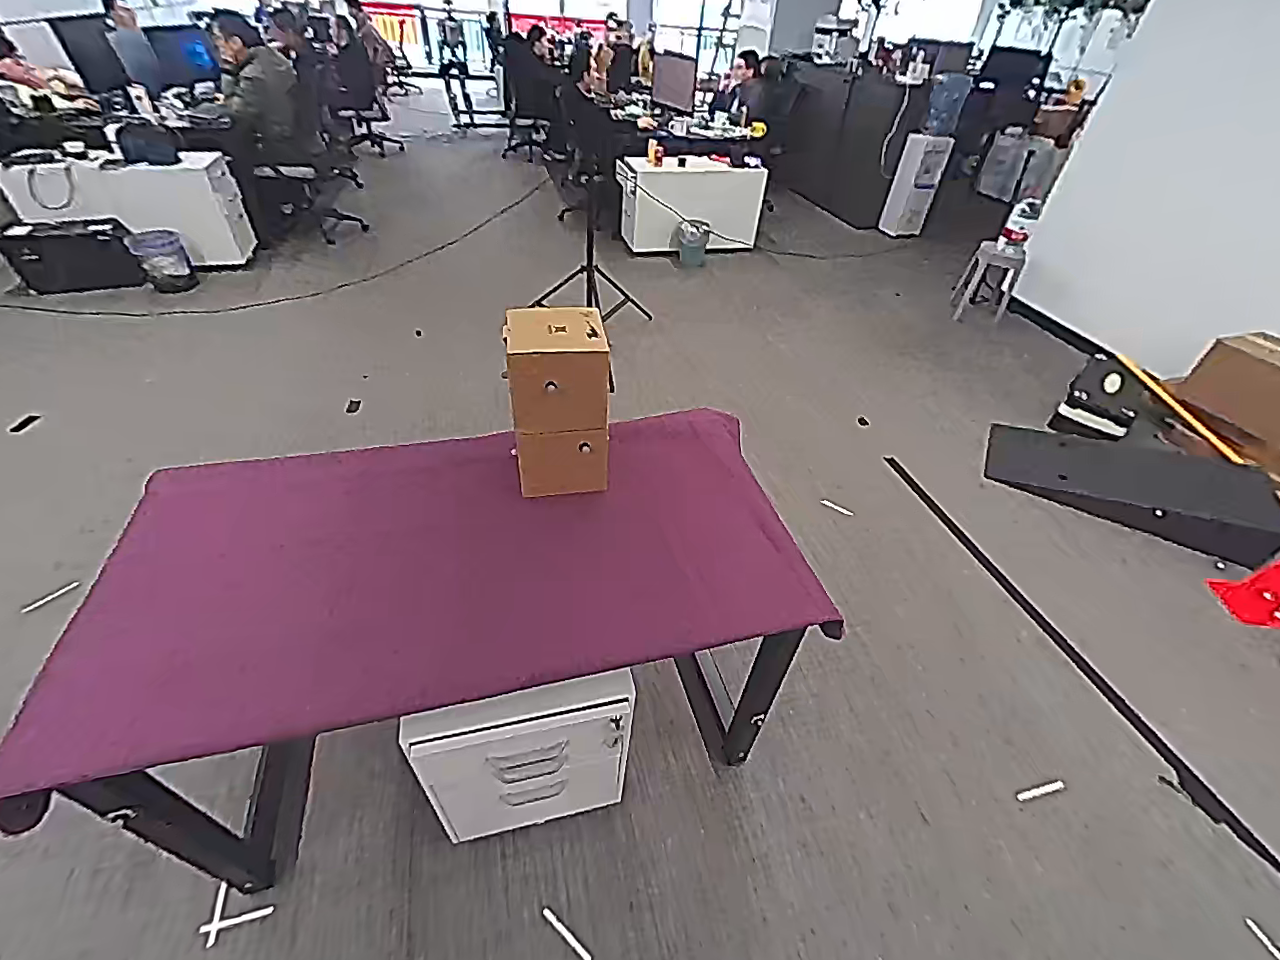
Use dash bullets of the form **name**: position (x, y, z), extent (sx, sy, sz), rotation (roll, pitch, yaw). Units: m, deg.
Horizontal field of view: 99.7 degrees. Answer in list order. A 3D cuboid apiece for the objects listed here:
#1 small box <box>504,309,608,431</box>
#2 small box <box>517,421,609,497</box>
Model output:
- **small box**: position (-0.156, -0.205, 1.017), extent (0.179, 0.176, 0.168), rotation (-5, 44, -9)
- **small box**: position (-0.164, -0.083, 1.127), extent (0.179, 0.176, 0.168), rotation (-6, 43, -10)
